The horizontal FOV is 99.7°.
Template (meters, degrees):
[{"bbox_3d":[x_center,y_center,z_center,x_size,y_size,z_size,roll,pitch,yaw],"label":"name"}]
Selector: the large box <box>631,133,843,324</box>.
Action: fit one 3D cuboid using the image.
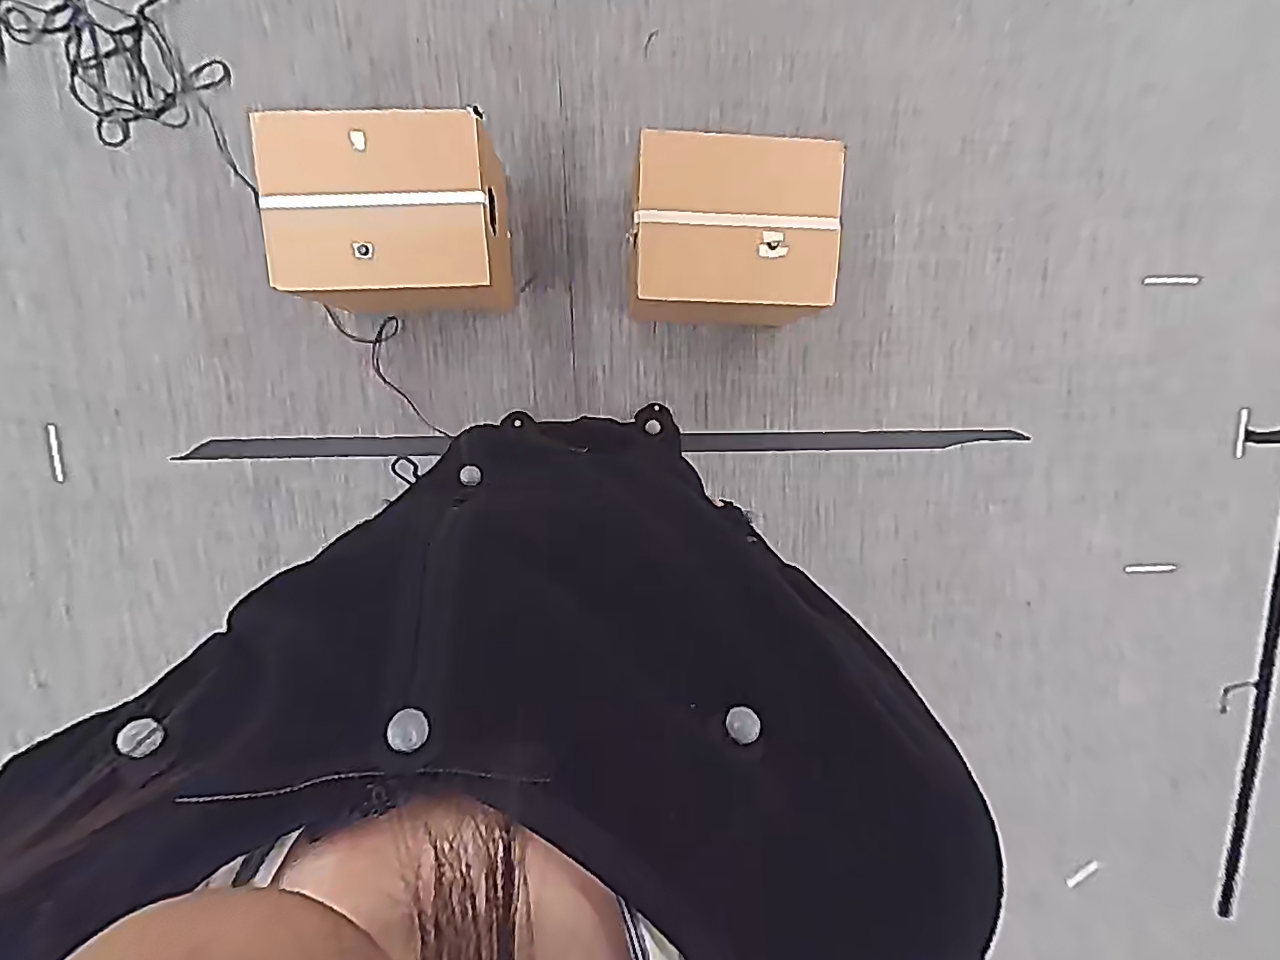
[{"bbox_3d":[0.188,-0.533,1.218,0.408,0.320,0.320,1,99,-5],"label":"large box"}]
